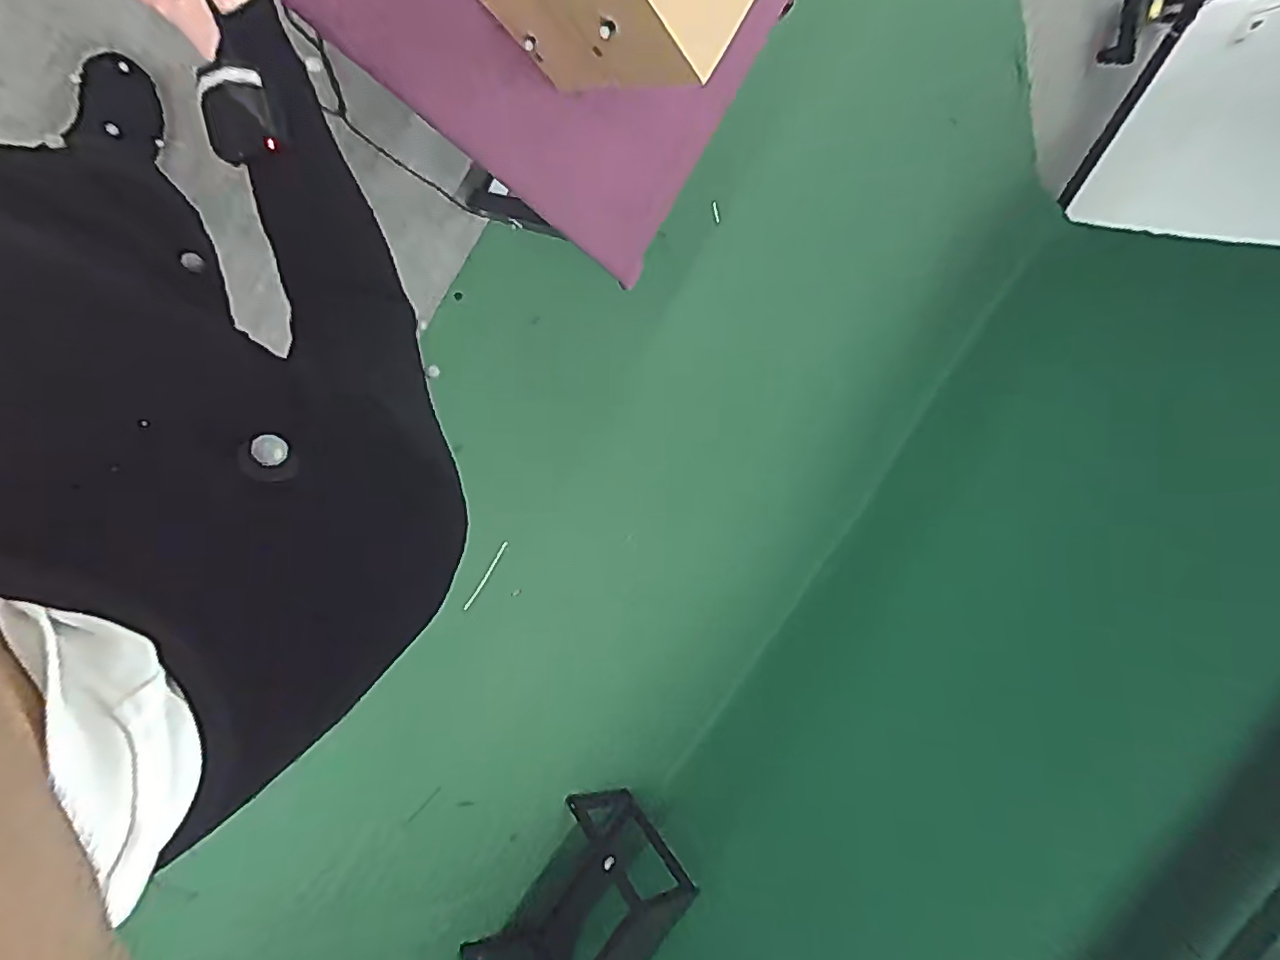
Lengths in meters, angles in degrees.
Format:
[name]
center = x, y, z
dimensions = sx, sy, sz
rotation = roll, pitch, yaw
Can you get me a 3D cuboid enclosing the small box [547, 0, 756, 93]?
[small box]
center = 0.012, -0.556, 0.582
dimensions = 0.168, 0.176, 0.179
rotation = 26, 98, -48
